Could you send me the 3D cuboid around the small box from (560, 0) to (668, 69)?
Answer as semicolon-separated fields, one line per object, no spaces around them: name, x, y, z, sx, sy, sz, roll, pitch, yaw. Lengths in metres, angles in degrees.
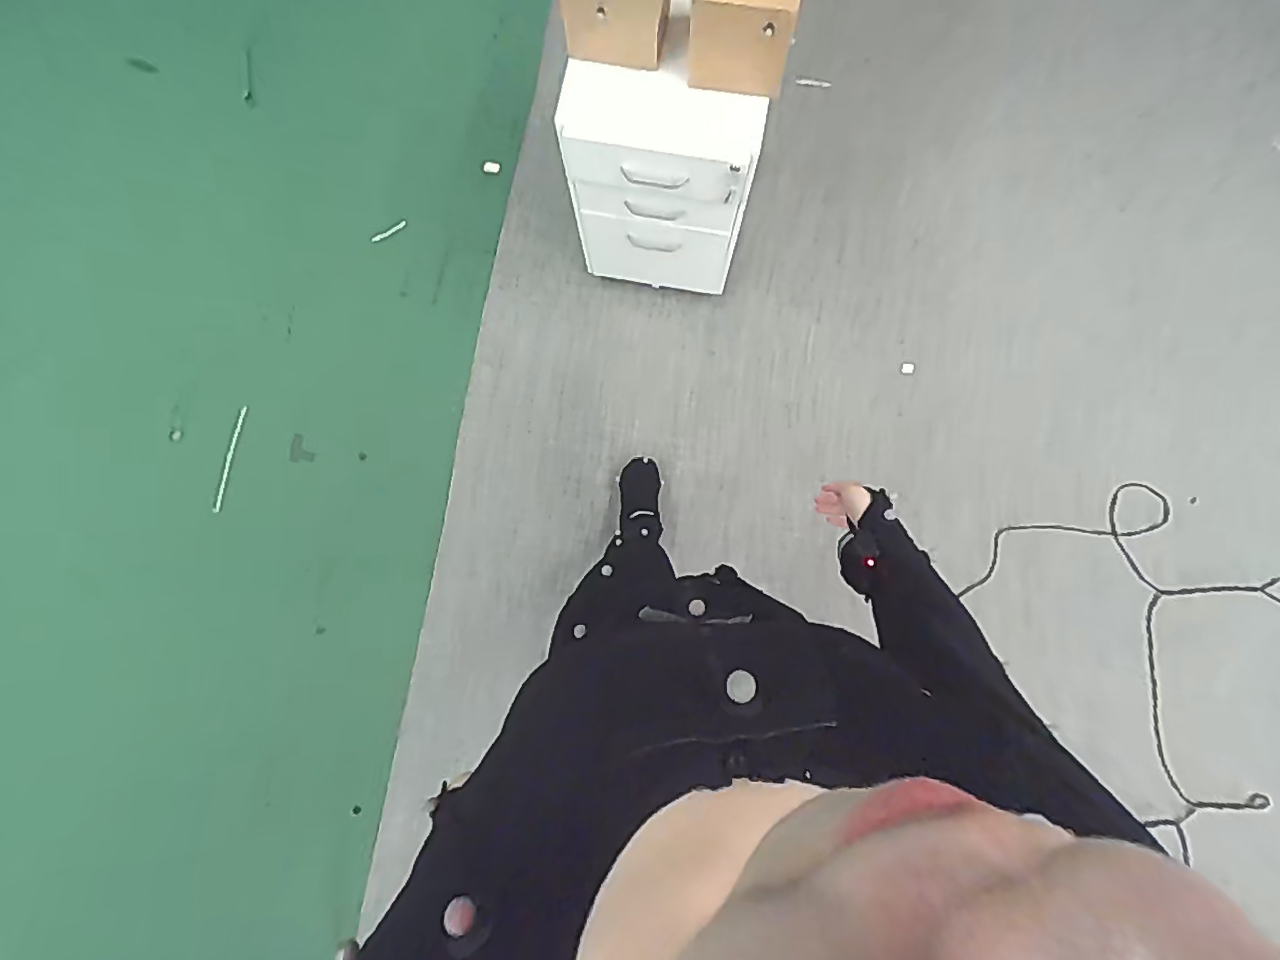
small box;-0.046;-0.883;0.967;0.179;0.176;0.168;10;83;2
